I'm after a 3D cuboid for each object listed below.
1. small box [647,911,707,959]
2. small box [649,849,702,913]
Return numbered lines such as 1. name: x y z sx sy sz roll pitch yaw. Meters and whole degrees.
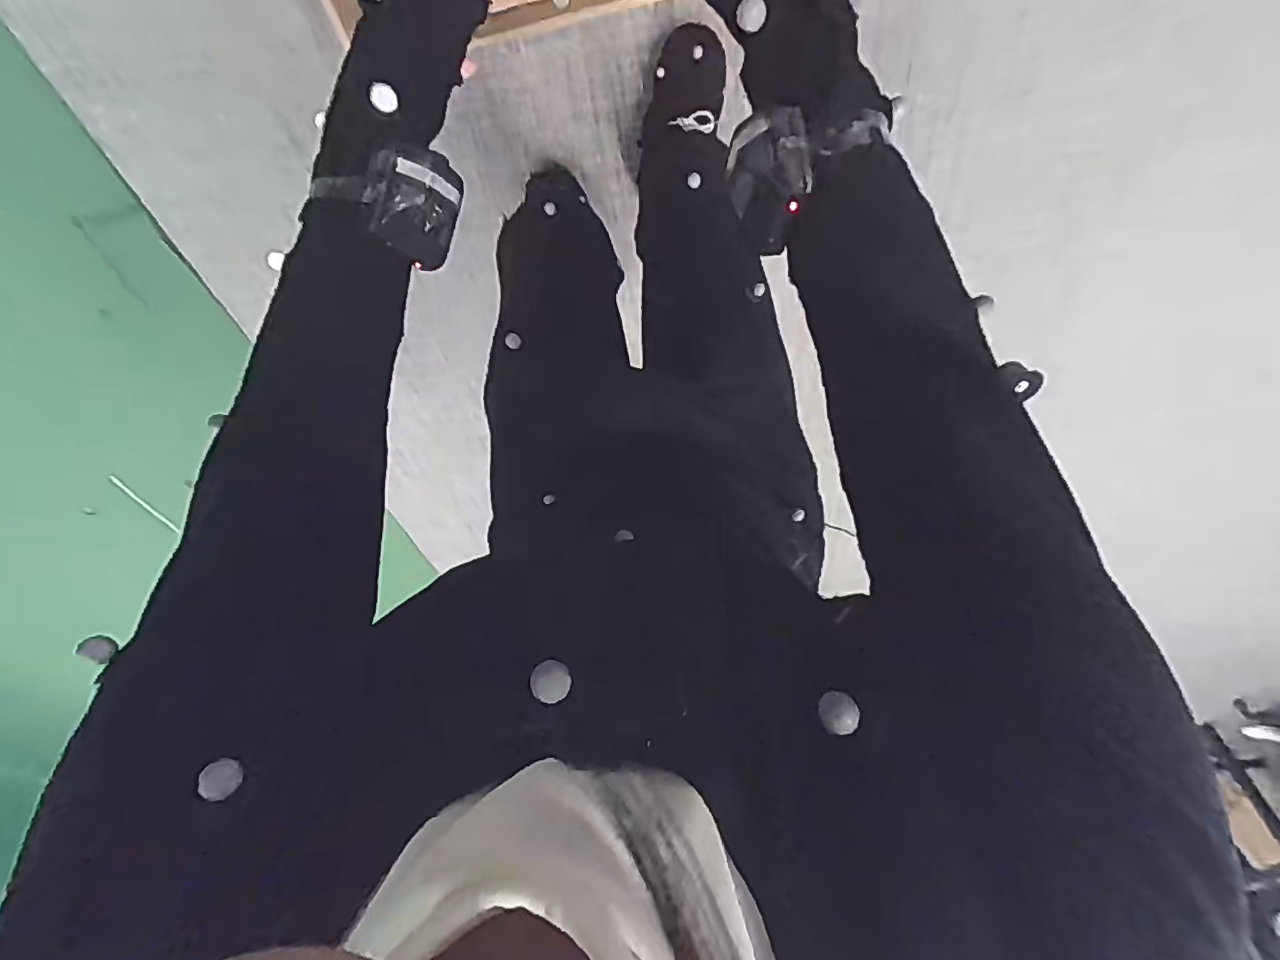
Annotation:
1. small box: 0.123 1.541 1.786 0.179 0.176 0.168 -11 138 11
2. small box: 0.124 1.422 1.920 0.168 0.176 0.179 -7 139 6
